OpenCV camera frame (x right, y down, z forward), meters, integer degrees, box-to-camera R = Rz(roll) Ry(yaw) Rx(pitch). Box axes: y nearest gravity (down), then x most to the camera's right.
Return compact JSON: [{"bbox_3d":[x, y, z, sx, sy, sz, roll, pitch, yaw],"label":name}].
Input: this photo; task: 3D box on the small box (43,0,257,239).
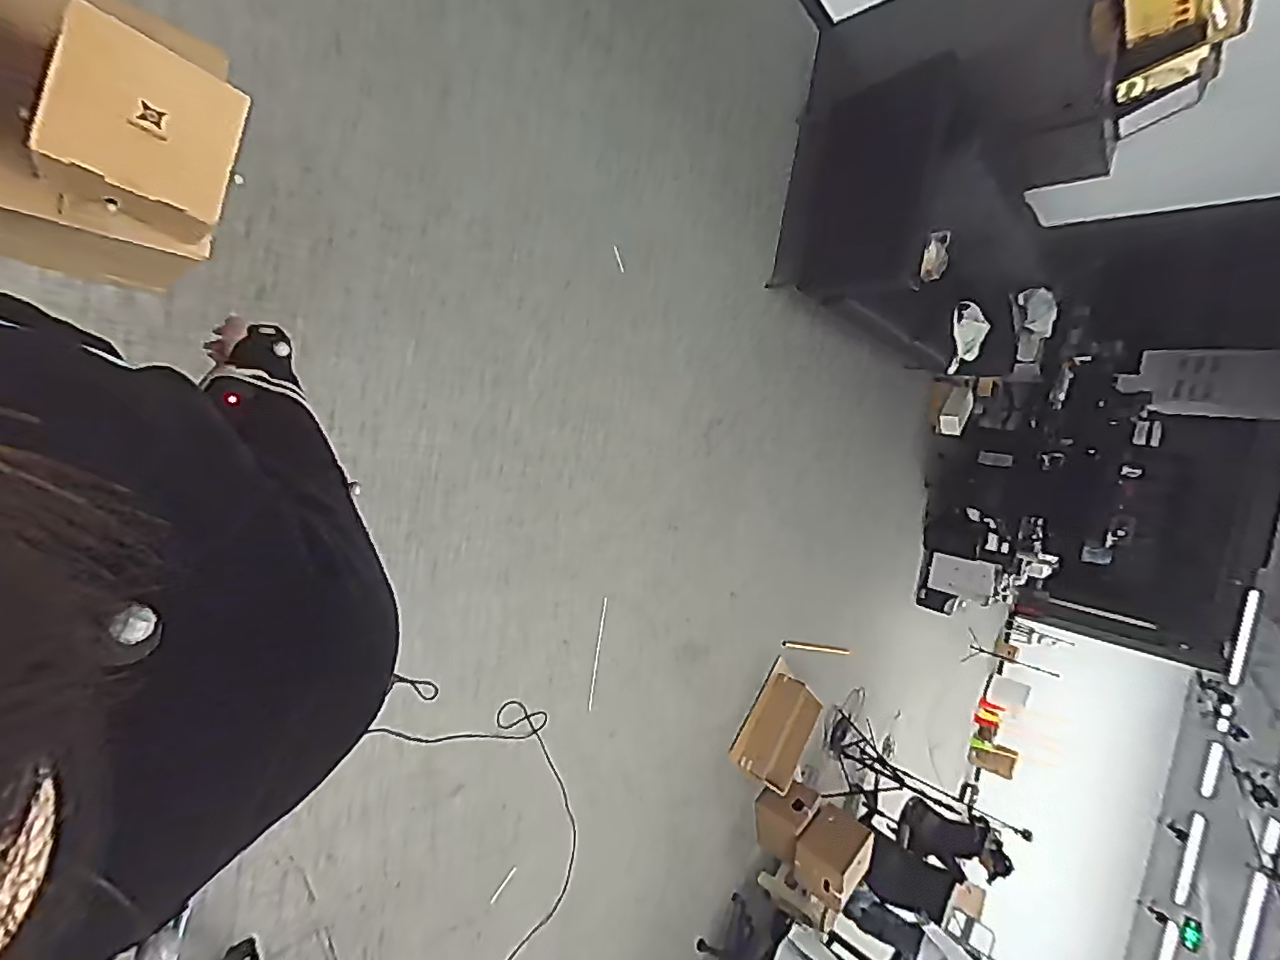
[{"bbox_3d":[-0.624,-0.438,0.694,0.168,0.176,0.179,14,90,-46],"label":"small box"}]
